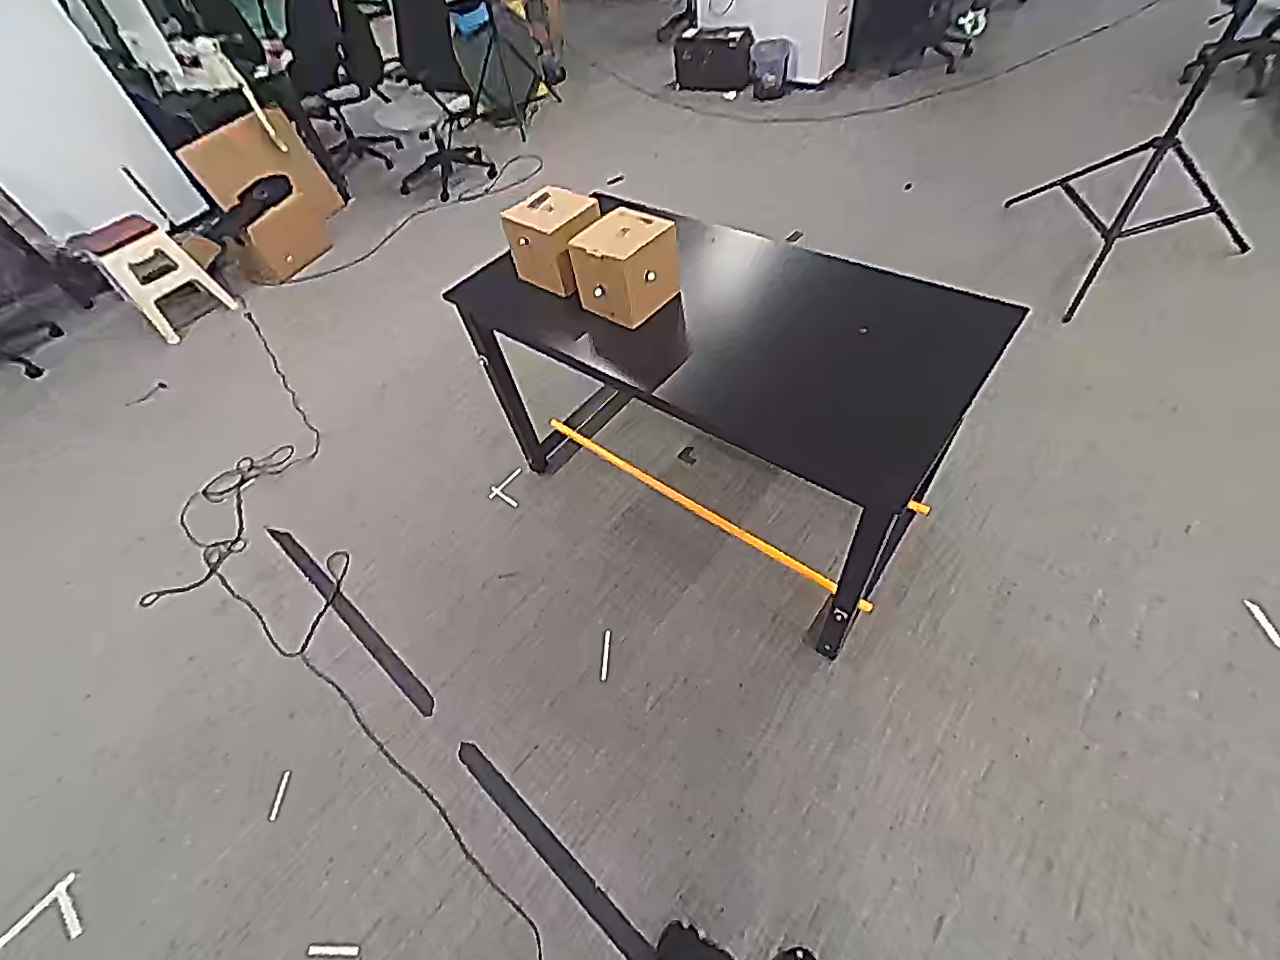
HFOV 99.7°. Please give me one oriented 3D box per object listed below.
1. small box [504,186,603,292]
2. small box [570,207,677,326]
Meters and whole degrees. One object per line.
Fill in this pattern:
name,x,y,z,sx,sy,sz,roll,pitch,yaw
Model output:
small box,-0.199,-0.591,1.332,0.179,0.176,0.168,31,63,27
small box,-0.027,-0.480,1.222,0.168,0.176,0.179,31,63,27
